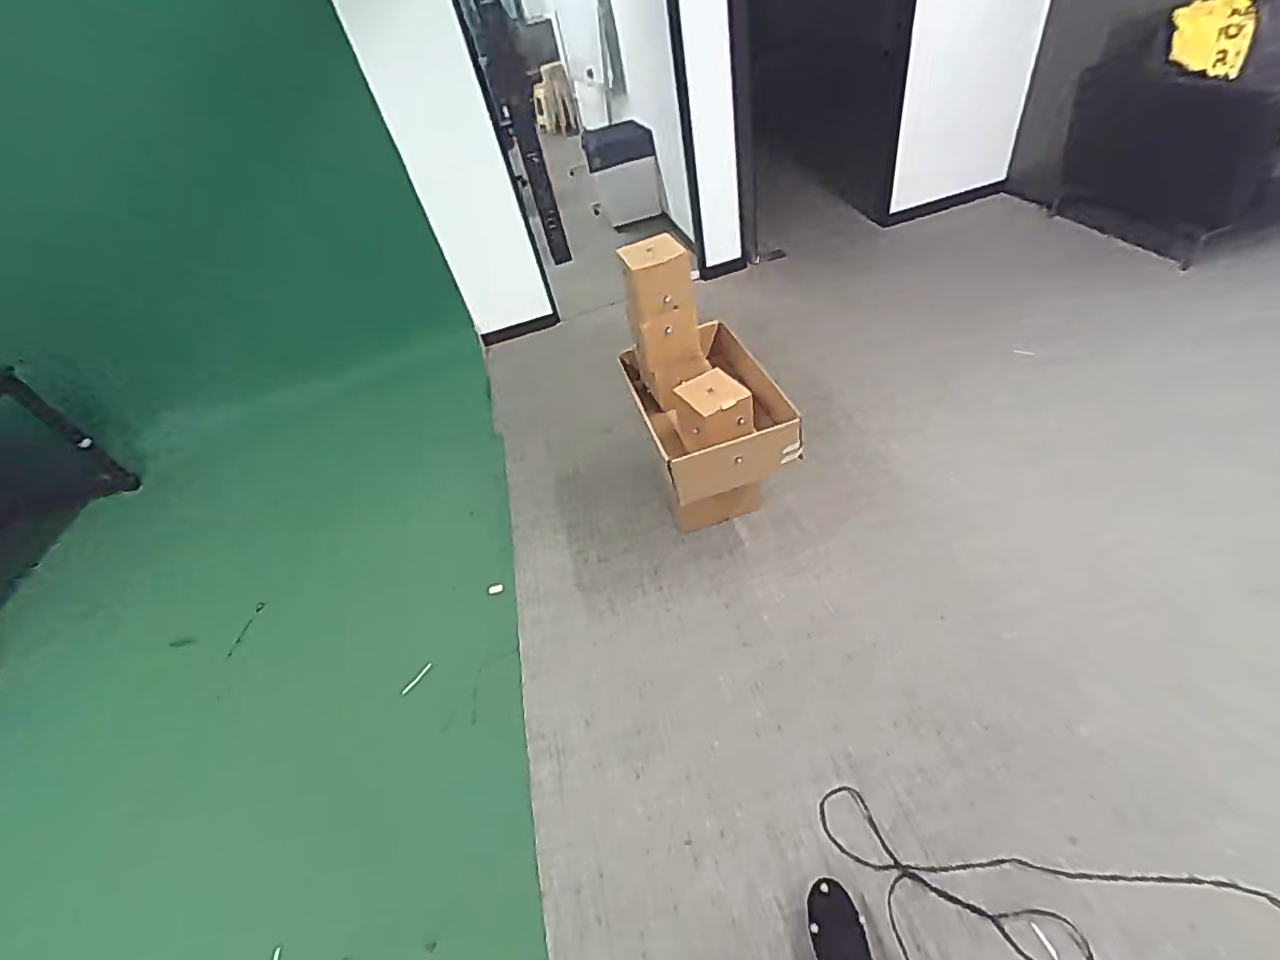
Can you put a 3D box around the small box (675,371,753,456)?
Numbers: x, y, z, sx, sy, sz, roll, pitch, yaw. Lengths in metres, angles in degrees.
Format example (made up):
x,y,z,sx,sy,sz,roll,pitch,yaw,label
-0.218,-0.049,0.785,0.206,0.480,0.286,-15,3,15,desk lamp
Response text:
x,y,z,sx,sy,sz,roll,pitch,yaw,label
0.227,-0.195,1.634,0.168,0.176,0.179,-27,45,-13,small box

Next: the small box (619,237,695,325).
x,y,z,sx,sy,sz,roll,pitch,yaw,label
0.052,-0.588,1.601,0.168,0.176,0.179,-21,45,-4,small box

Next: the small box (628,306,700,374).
x,y,z,sx,sy,sz,roll,pitch,yaw,label
0.080,-0.465,1.708,0.179,0.176,0.168,-22,45,-6,small box
